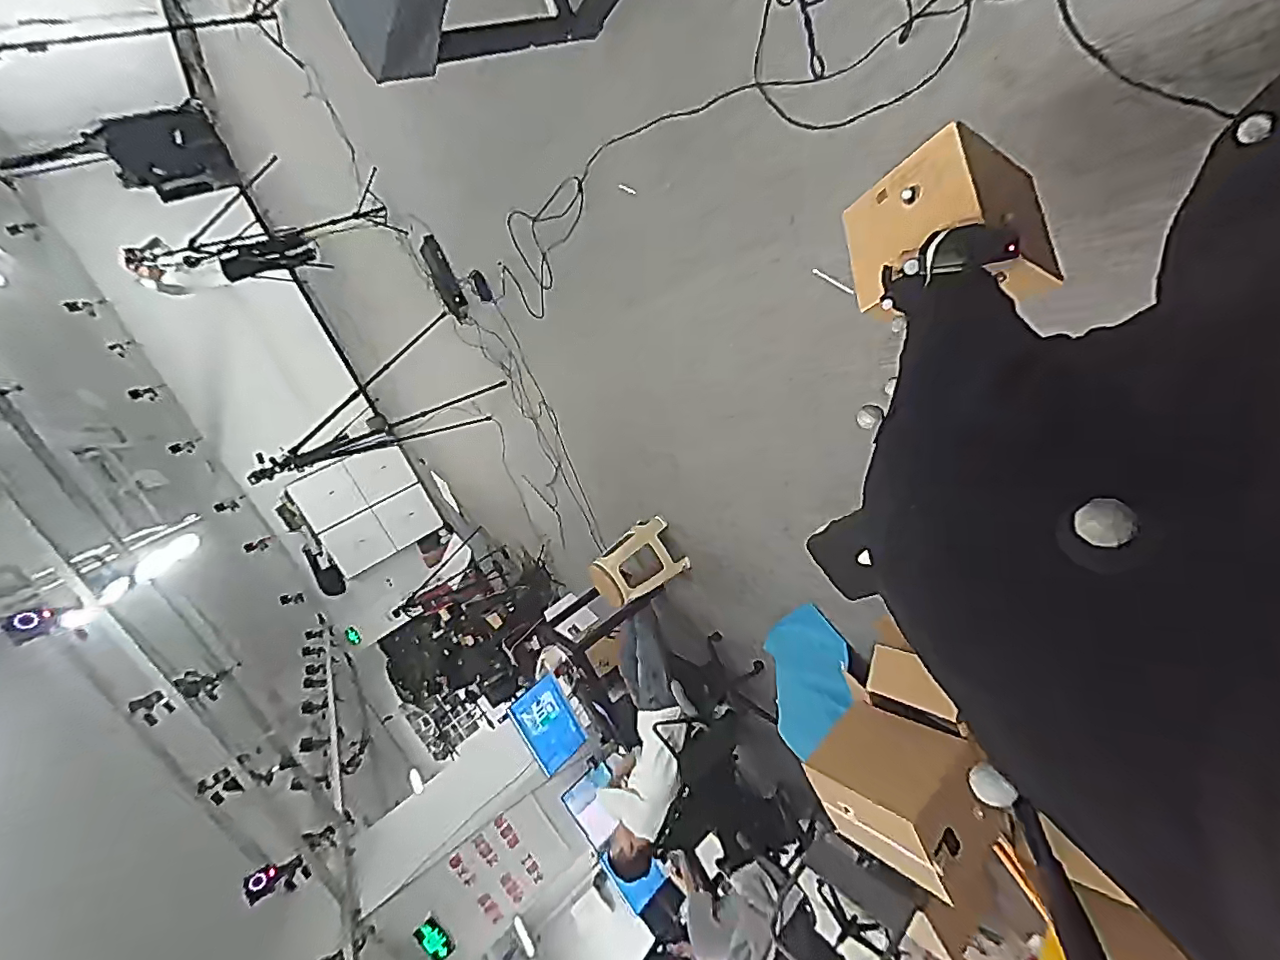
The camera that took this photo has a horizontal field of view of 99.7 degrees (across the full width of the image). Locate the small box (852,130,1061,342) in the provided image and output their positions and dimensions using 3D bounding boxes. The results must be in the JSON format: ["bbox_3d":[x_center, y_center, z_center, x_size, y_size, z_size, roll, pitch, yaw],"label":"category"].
[{"bbox_3d":[0.410,-0.312,0.716,0.168,0.179,0.176,-28,59,56],"label":"small box"}]
